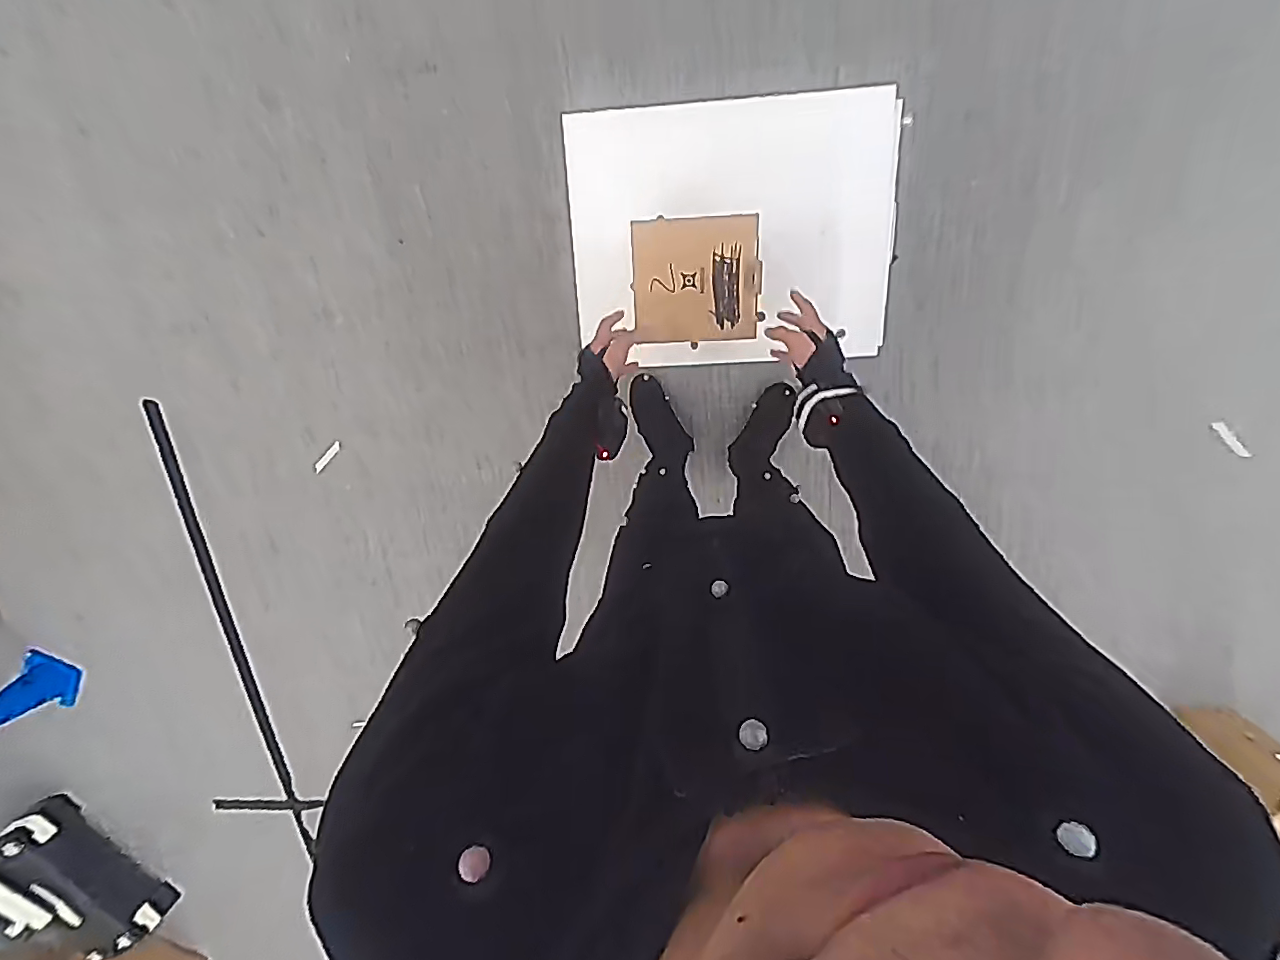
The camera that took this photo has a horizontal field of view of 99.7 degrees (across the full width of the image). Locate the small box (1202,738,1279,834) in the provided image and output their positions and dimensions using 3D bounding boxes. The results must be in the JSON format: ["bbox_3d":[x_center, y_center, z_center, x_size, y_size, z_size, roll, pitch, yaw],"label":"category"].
[{"bbox_3d":[1.798,0.884,1.559,0.168,0.176,0.179,5,107,1],"label":"small box"}]

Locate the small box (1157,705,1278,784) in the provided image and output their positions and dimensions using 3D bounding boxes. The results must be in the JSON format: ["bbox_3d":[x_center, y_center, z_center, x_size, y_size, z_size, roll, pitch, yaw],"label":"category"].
[{"bbox_3d":[1.822,0.839,1.716,0.179,0.176,0.168,2,108,3],"label":"small box"}]
